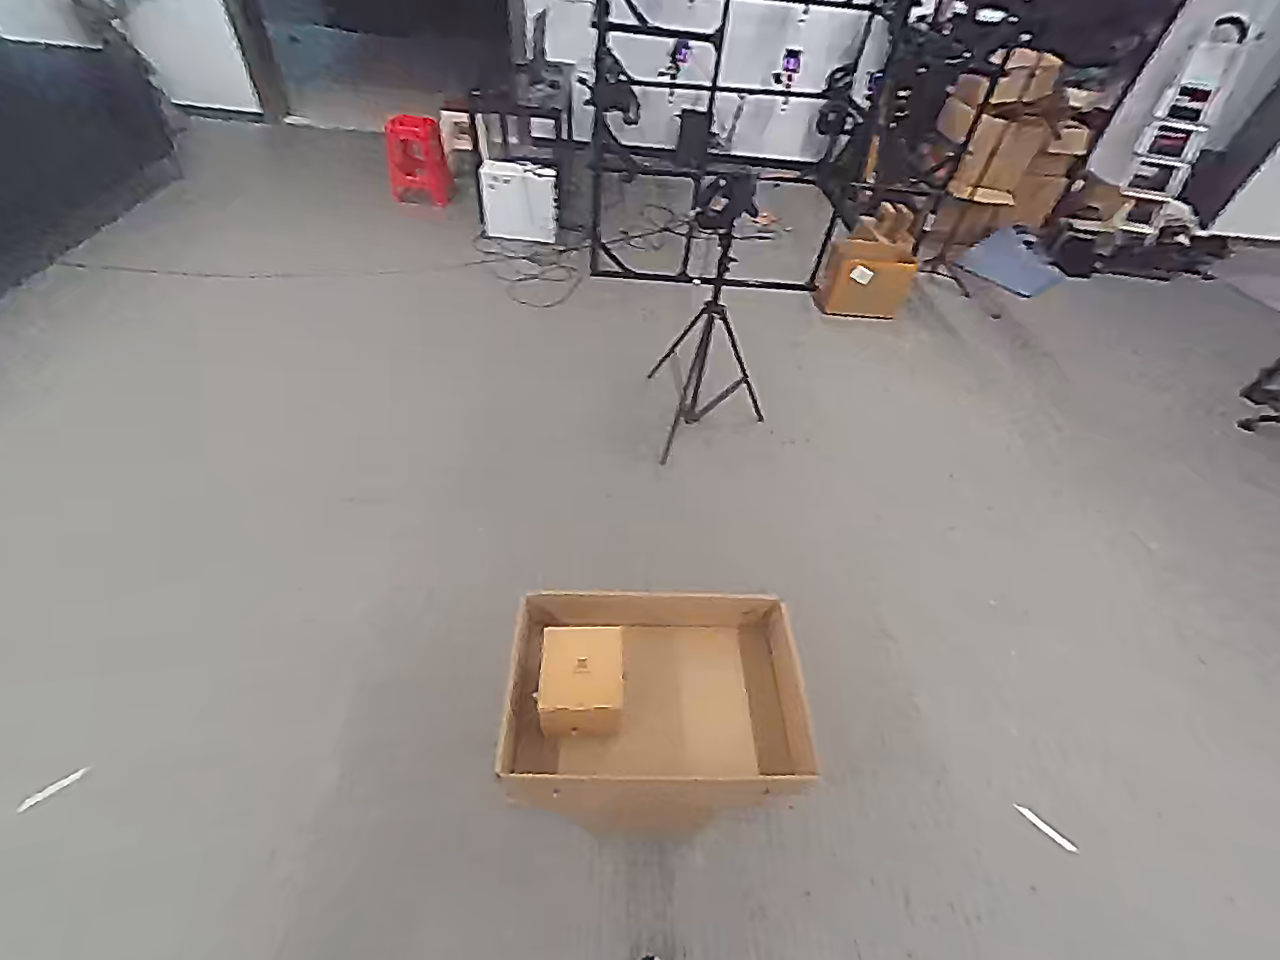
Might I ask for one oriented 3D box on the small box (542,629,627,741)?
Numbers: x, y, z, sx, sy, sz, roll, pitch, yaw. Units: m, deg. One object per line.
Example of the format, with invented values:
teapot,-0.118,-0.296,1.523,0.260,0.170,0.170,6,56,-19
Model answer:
small box,-0.116,0.437,1.153,0.168,0.176,0.179,1,47,-5
